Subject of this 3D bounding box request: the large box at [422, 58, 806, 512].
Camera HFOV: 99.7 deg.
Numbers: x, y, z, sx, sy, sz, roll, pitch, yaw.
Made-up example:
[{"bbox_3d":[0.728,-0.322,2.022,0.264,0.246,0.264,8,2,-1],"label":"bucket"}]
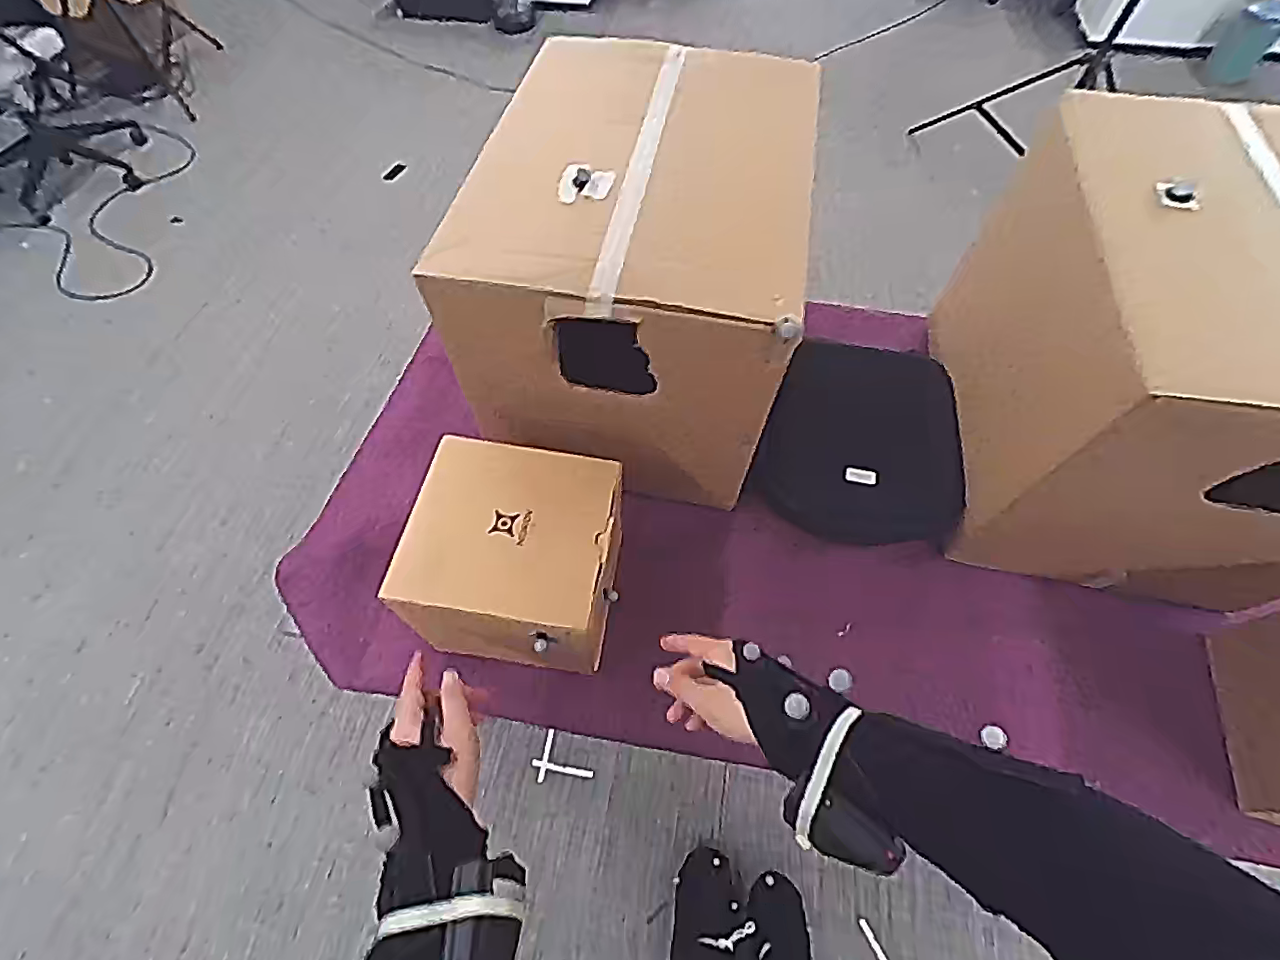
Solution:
[{"bbox_3d":[0.000,-0.221,0.655,0.320,0.320,0.408,9,63,6],"label":"large box"}]
